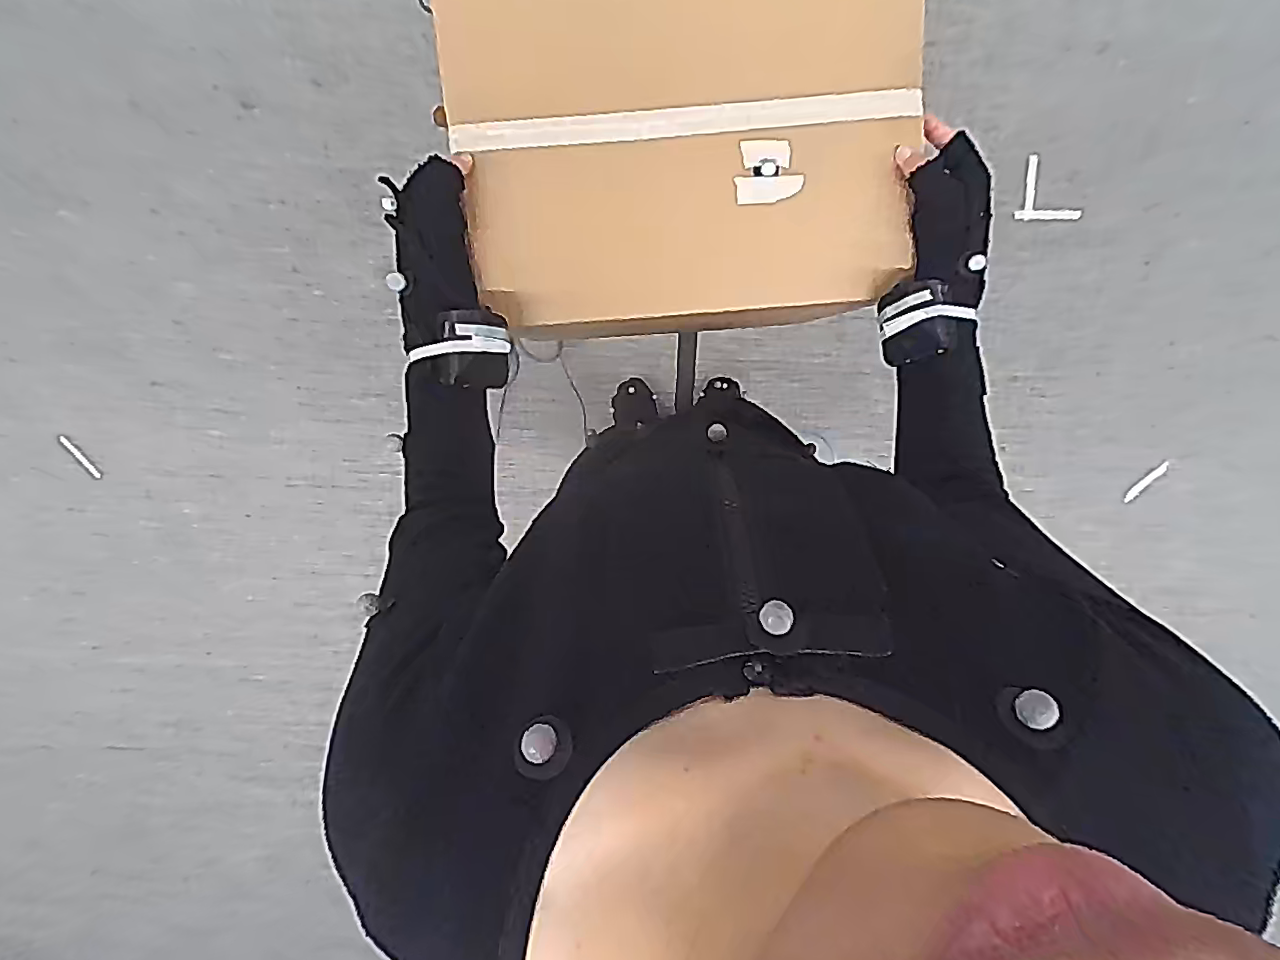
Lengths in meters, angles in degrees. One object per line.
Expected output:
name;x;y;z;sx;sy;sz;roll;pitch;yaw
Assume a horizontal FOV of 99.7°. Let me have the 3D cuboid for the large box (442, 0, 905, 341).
large box;0.033;-0.345;0.630;0.408;0.320;0.320;-5;103;-1
